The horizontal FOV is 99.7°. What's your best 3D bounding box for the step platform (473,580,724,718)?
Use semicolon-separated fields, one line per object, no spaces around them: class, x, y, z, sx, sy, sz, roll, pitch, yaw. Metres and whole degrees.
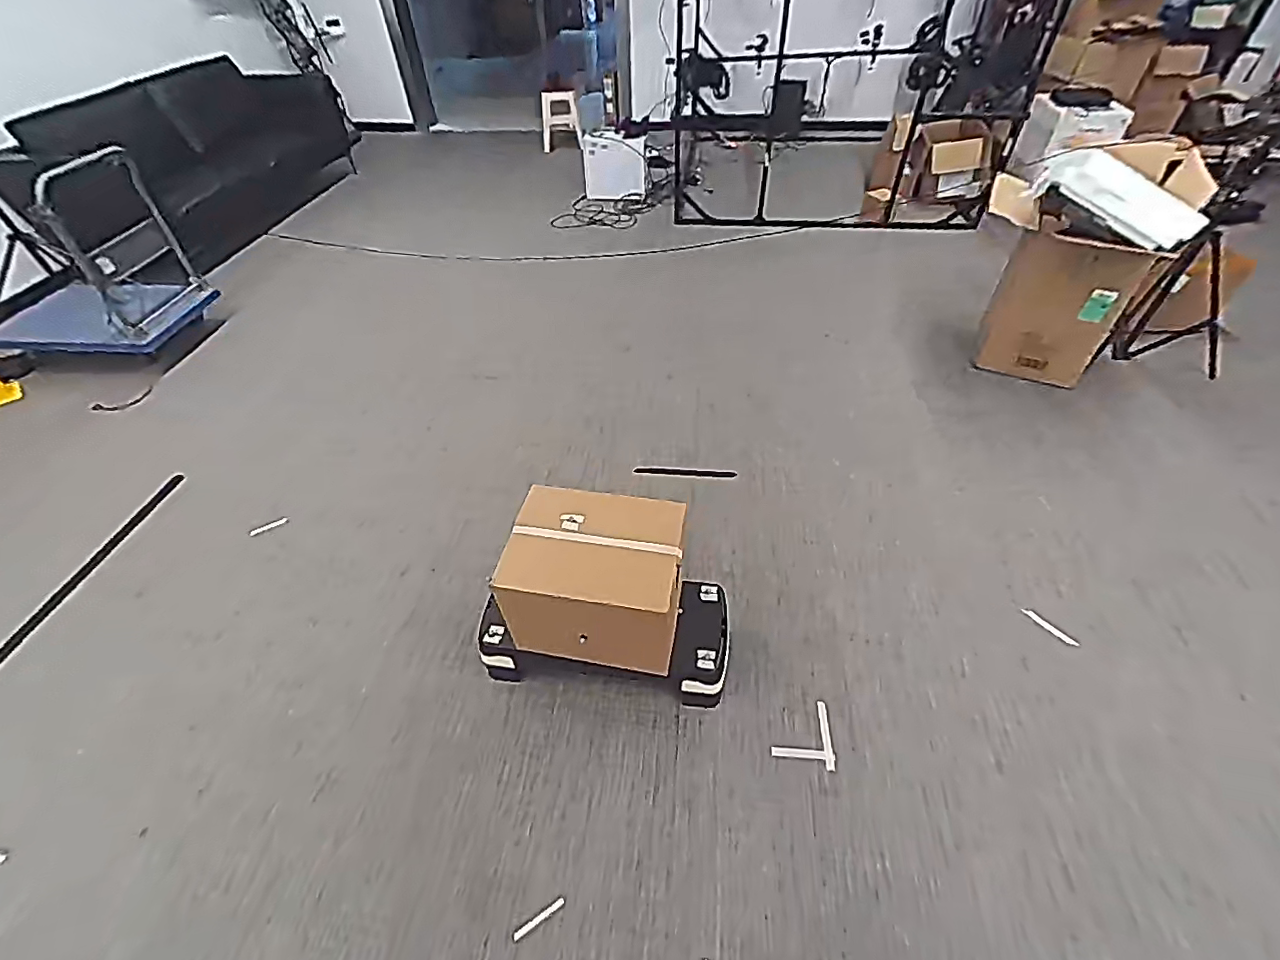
step platform;-0.110;0.431;1.525;0.684;0.204;0.286;8;47;11

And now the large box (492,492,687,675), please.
large box;-0.095;0.259;1.359;0.408;0.320;0.320;6;46;10
